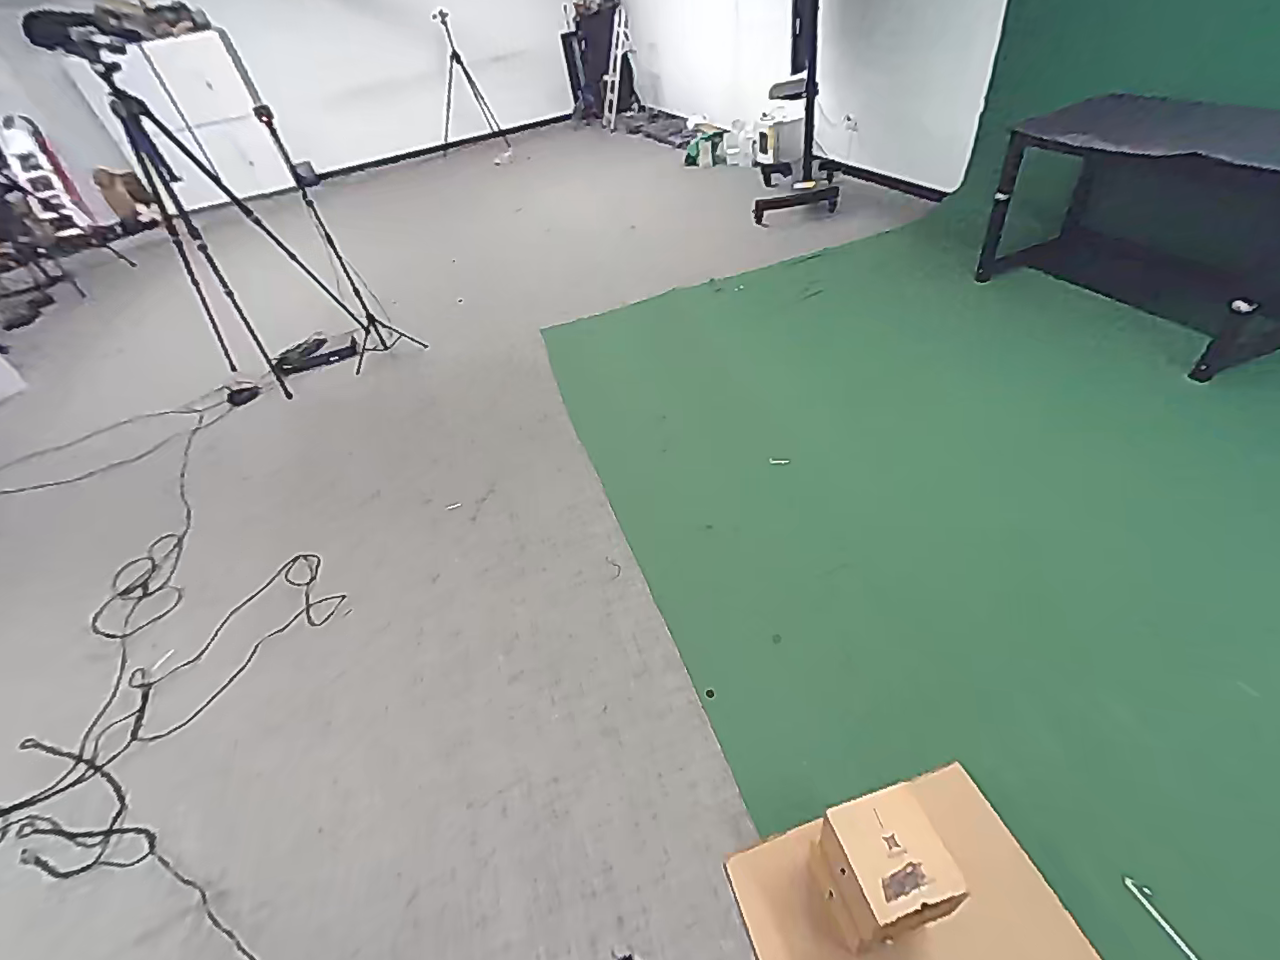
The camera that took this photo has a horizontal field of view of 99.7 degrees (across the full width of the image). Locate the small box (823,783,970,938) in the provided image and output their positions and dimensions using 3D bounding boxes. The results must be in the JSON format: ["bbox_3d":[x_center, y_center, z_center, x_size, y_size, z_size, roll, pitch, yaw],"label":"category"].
[{"bbox_3d":[0.446,0.688,0.973,0.168,0.176,0.179,-16,40,-5],"label":"small box"}]
